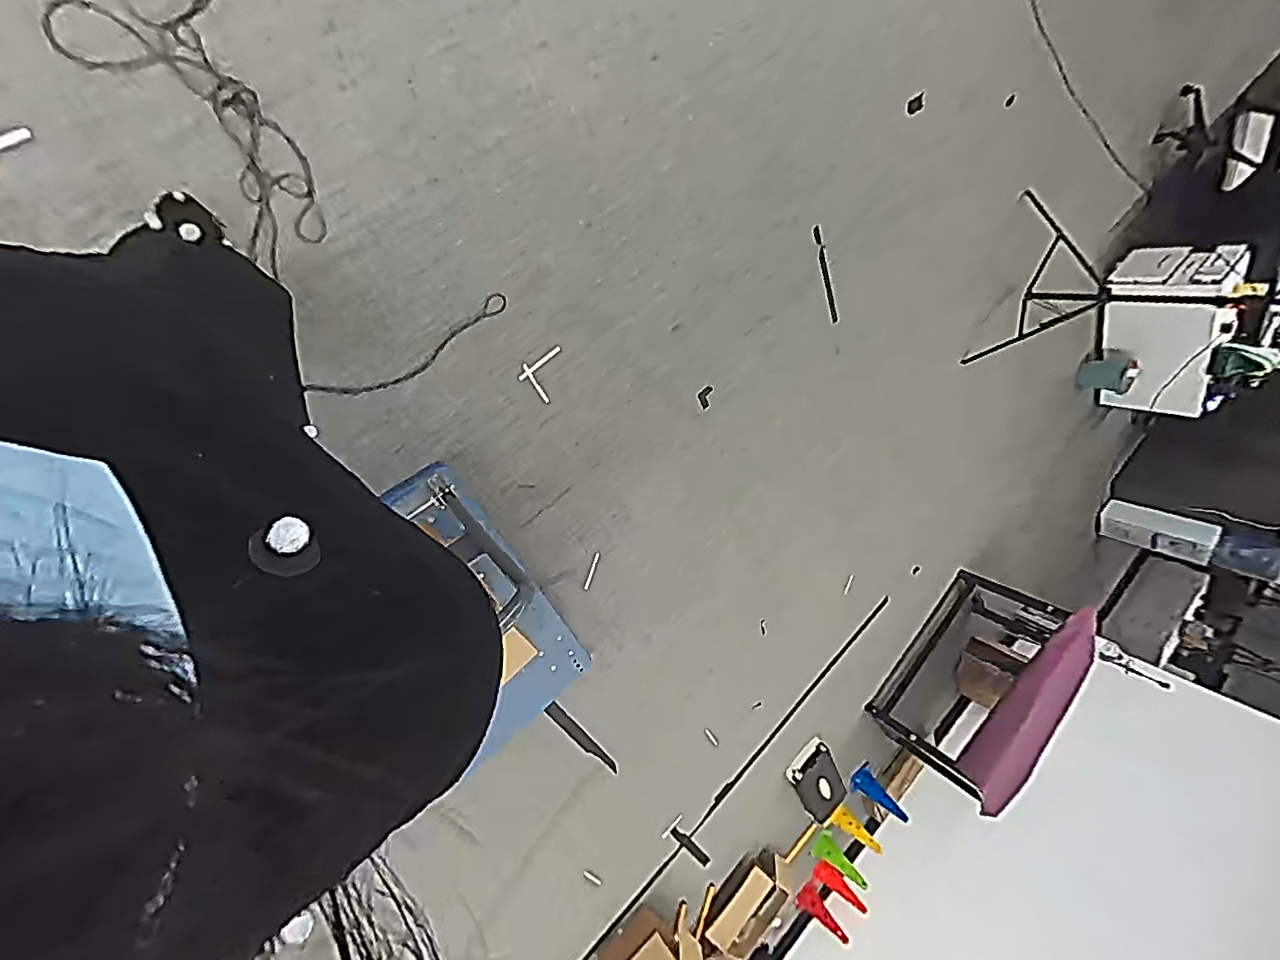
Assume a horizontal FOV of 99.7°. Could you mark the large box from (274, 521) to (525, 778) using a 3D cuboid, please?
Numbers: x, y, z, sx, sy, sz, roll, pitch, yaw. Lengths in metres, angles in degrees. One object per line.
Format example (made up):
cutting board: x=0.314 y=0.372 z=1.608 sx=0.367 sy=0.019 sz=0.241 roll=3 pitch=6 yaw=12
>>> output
large box: x=-0.555 y=0.371 z=1.258 sx=0.408 sy=0.320 sz=0.320 roll=-41 pitch=125 yaw=-16
